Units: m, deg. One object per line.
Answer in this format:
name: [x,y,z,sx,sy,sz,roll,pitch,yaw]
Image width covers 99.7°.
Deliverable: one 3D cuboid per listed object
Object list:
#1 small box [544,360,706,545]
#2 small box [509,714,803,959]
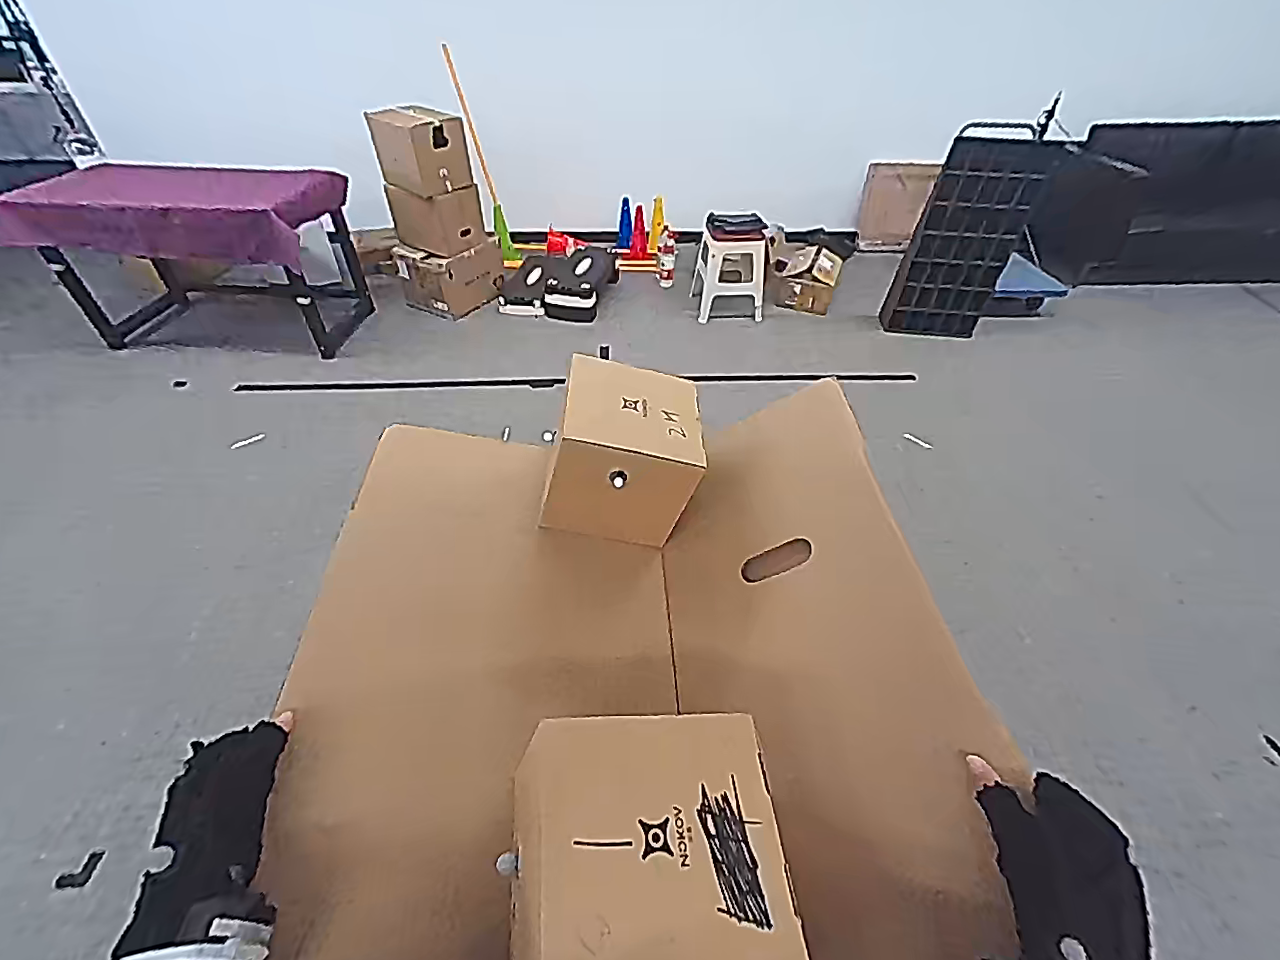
small box: [-0.026,-0.031,0.735,0.179,0.176,0.168,13,46,-12]
small box: [-0.004,0.300,0.438,0.179,0.176,0.168,6,48,-16]
